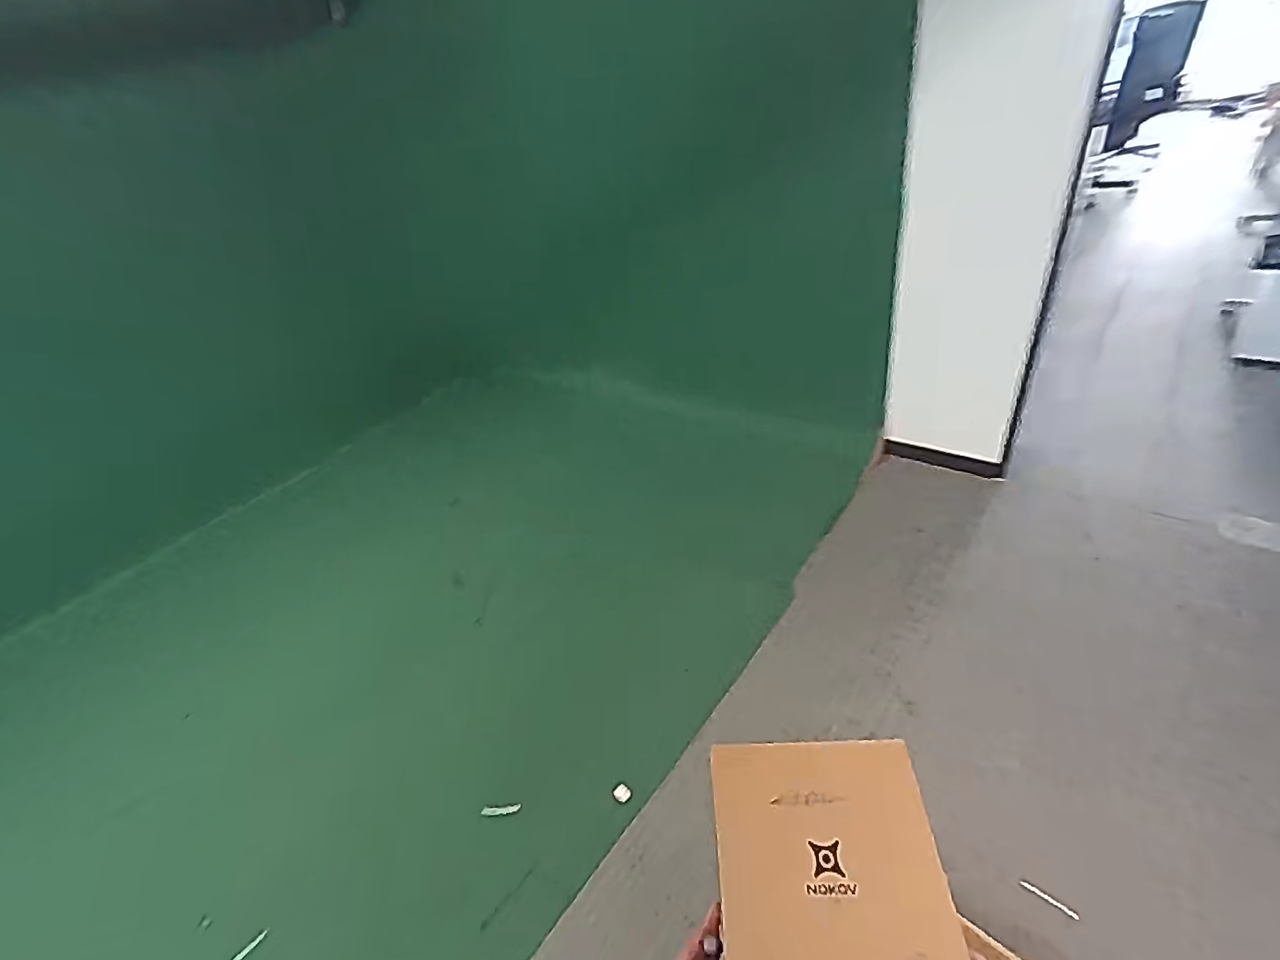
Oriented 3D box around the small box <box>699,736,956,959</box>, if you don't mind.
[{"bbox_3d":[0.140,0.337,0.460,0.168,0.176,0.179,-4,47,5],"label":"small box"}]
